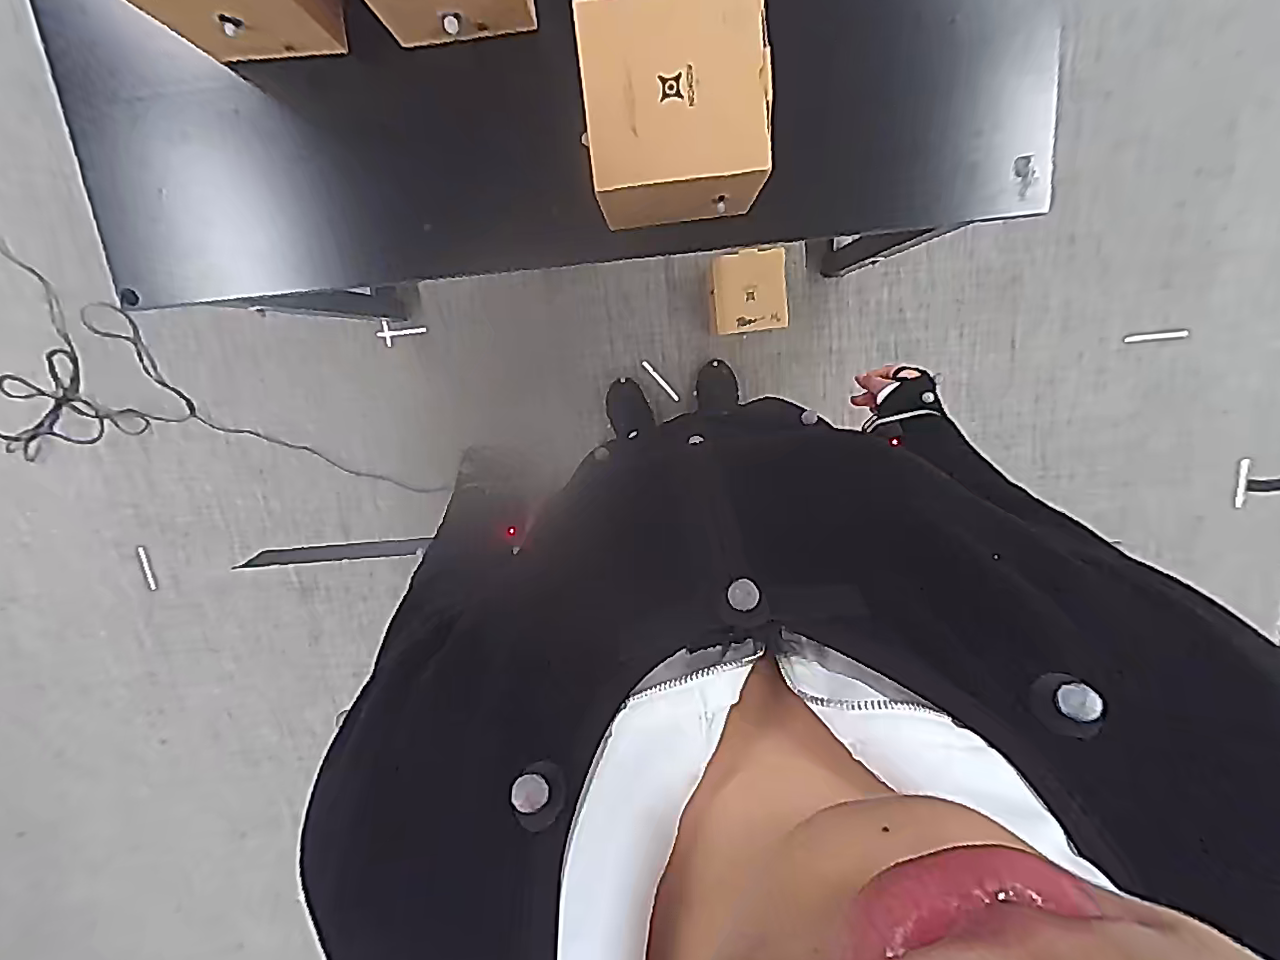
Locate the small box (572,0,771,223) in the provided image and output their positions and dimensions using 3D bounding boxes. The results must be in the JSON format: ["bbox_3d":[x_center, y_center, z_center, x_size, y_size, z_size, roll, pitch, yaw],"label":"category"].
[{"bbox_3d":[0.034,-0.393,0.584,0.179,0.176,0.168,-6,102,4],"label":"small box"}]

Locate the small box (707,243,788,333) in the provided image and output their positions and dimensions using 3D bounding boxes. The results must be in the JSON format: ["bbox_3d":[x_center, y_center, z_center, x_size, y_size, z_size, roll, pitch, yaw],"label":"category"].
[{"bbox_3d":[0.255,-0.458,1.309,0.168,0.176,0.179,-6,103,4],"label":"small box"}]

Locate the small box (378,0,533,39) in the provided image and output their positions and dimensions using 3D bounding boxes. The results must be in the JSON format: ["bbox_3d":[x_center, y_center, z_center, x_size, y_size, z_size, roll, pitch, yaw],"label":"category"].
[{"bbox_3d":[-0.214,-0.595,0.541,0.168,0.176,0.179,-5,104,3],"label":"small box"}]

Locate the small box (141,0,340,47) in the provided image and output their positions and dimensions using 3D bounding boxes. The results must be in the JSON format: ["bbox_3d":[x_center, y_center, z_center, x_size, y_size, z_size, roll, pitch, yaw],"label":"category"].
[{"bbox_3d":[-0.438,-0.580,0.552,0.168,0.176,0.179,-3,103,1],"label":"small box"}]
